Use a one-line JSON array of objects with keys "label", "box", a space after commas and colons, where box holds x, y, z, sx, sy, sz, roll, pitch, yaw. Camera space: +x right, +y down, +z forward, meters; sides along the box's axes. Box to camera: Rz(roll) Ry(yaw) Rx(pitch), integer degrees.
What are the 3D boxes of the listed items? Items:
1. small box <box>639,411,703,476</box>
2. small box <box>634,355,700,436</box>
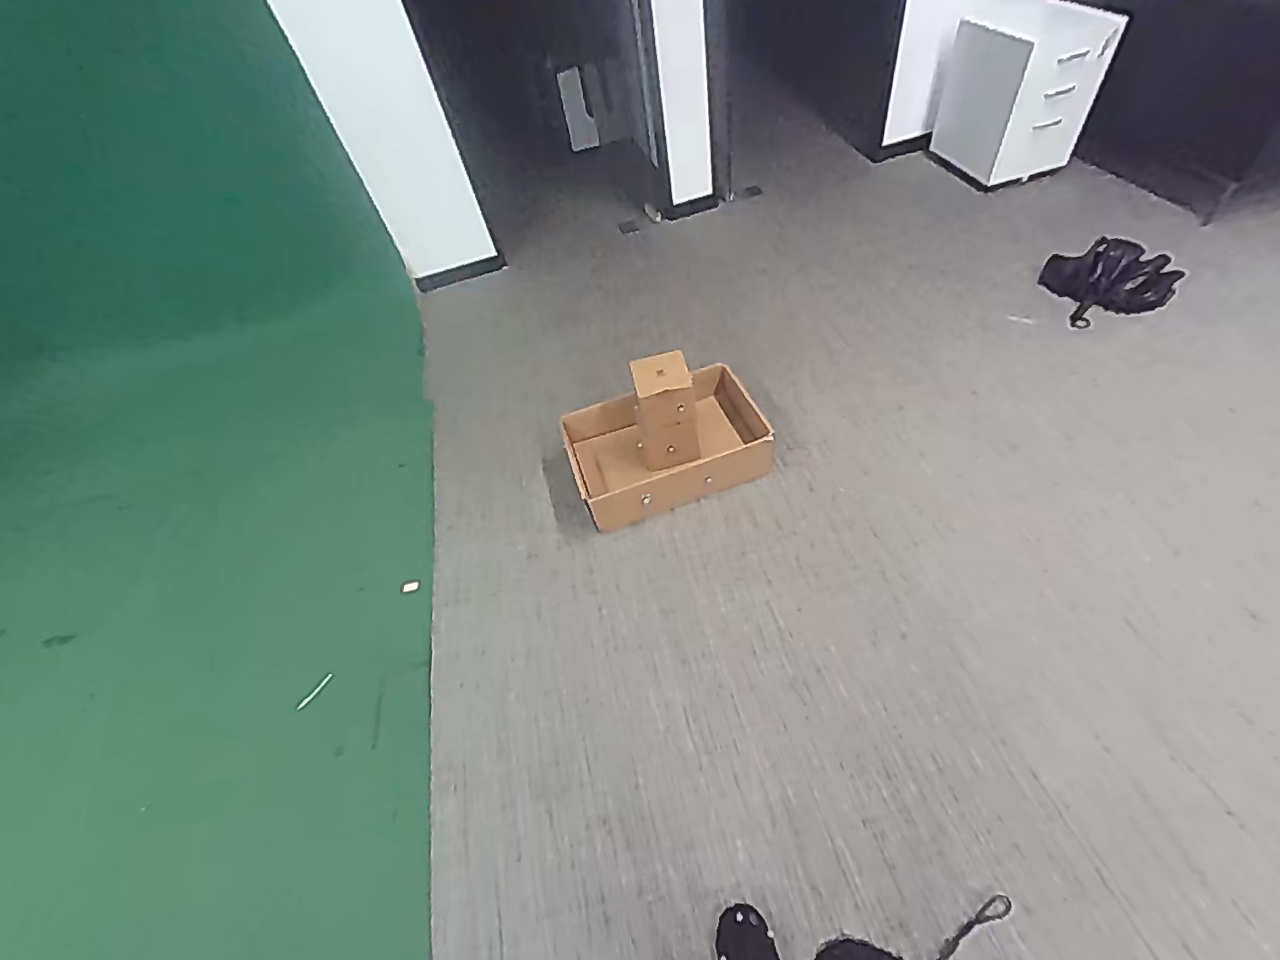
[{"label": "small box", "box": [0.109, -0.139, 1.814, 0.179, 0.176, 0.168, -16, 49, 2]}, {"label": "small box", "box": [0.086, -0.255, 1.682, 0.168, 0.176, 0.179, -13, 48, 0]}]
